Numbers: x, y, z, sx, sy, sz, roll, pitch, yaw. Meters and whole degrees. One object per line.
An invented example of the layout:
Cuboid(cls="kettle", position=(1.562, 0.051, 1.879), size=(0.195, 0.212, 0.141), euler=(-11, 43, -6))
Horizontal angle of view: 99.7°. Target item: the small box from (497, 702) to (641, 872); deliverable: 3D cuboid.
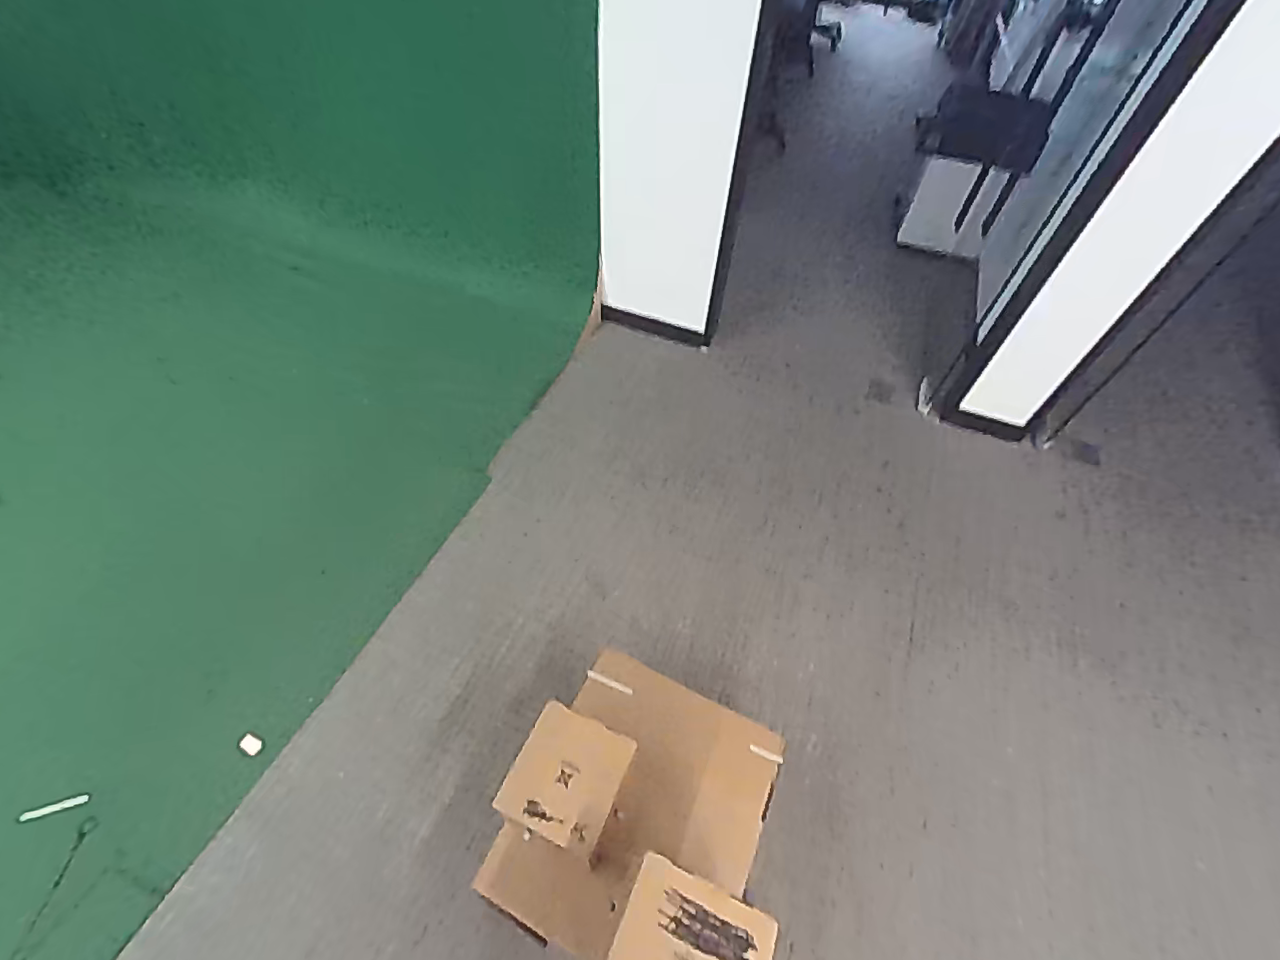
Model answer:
Cuboid(cls="small box", position=(-0.113, 0.509, 0.895), size=(0.168, 0.176, 0.179), euler=(21, 51, 13))

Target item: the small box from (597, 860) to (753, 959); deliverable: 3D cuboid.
Cuboid(cls="small box", position=(0.040, 0.676, 0.770), size=(0.179, 0.176, 0.168), euler=(21, 52, 12))
